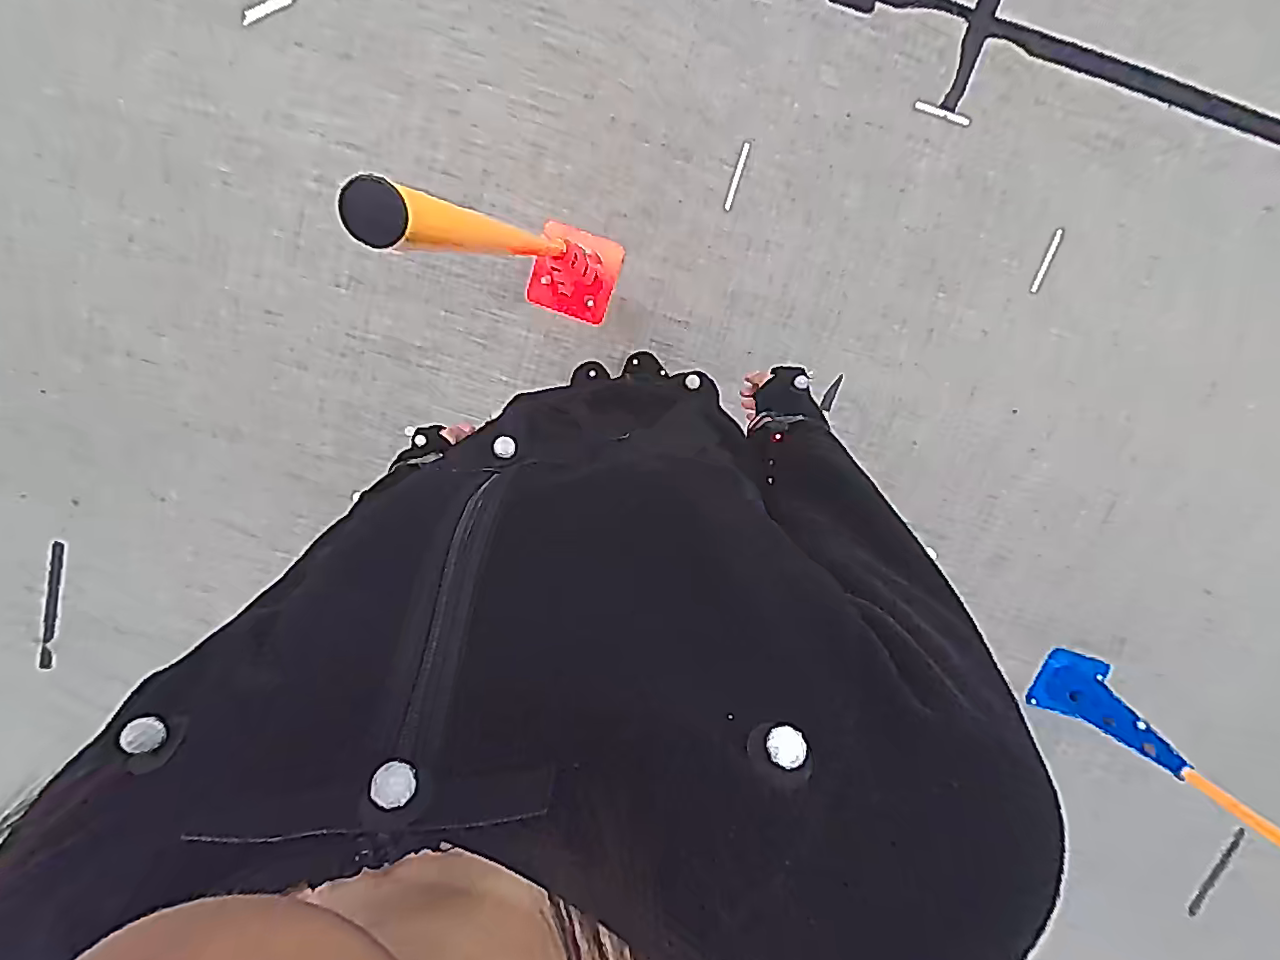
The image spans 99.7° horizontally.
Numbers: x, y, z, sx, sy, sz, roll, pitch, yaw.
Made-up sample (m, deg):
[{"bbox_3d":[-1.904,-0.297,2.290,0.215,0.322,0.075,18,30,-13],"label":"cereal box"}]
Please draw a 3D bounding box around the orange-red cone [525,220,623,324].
[{"bbox_3d":[-0.154,-0.458,1.132,0.198,0.360,0.199,20,102,-6],"label":"orange-red cone"}]

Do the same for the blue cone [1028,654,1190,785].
[{"bbox_3d":[1.283,0.655,1.458,0.193,0.380,0.192,20,103,-6],"label":"blue cone"}]
